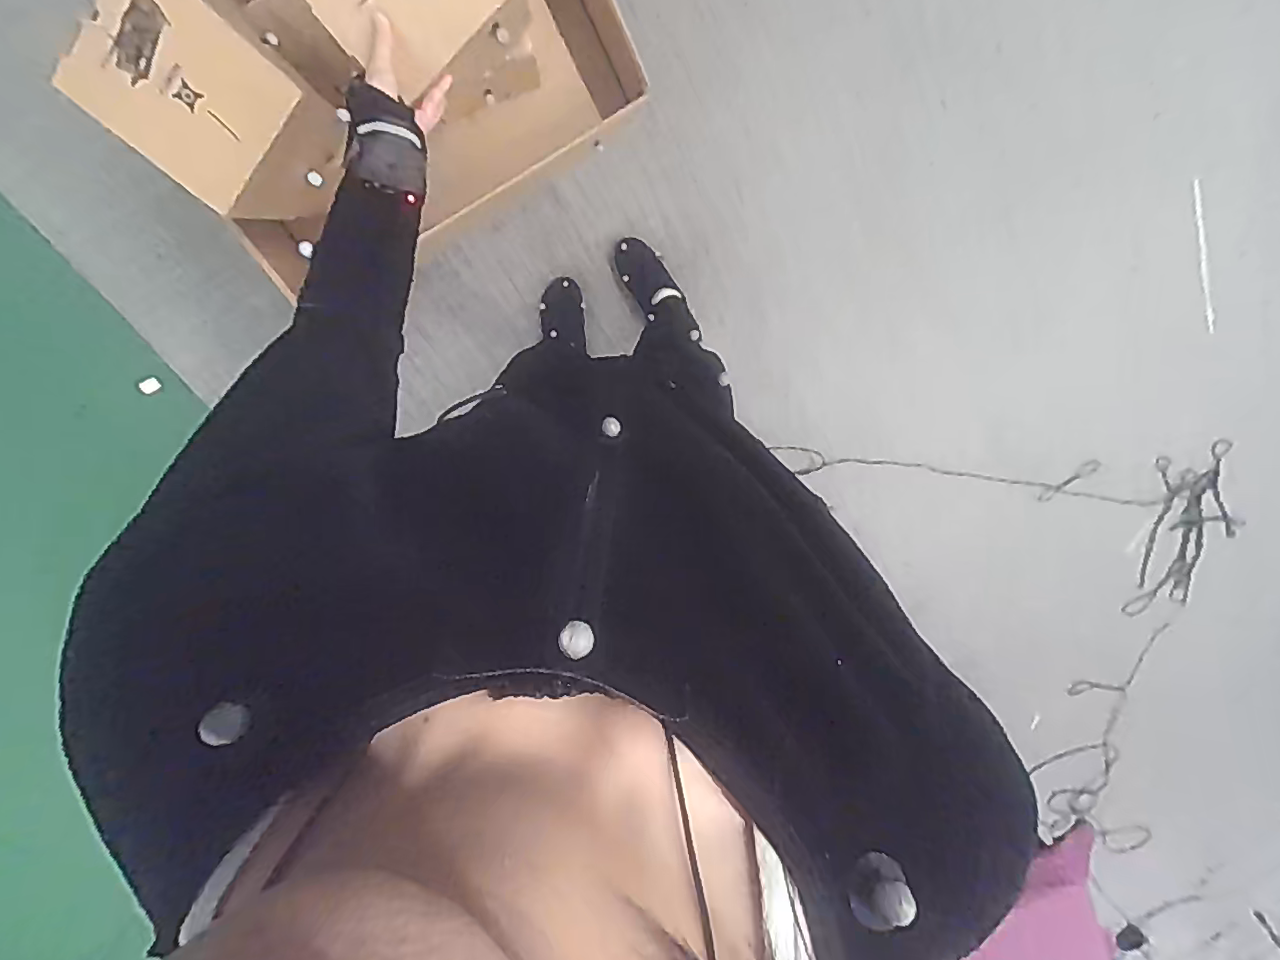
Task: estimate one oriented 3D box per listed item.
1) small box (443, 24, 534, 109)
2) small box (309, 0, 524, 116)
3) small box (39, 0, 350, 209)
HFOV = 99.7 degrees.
[{"bbox_3d":[-0.250,-0.628,0.729,0.168,0.176,0.179,-19,115,1],"label":"small box"},{"bbox_3d":[-0.236,-0.519,0.561,0.179,0.176,0.168,-35,117,13],"label":"small box"},{"bbox_3d":[-0.473,-0.429,0.607,0.168,0.176,0.179,-44,113,13],"label":"small box"}]
